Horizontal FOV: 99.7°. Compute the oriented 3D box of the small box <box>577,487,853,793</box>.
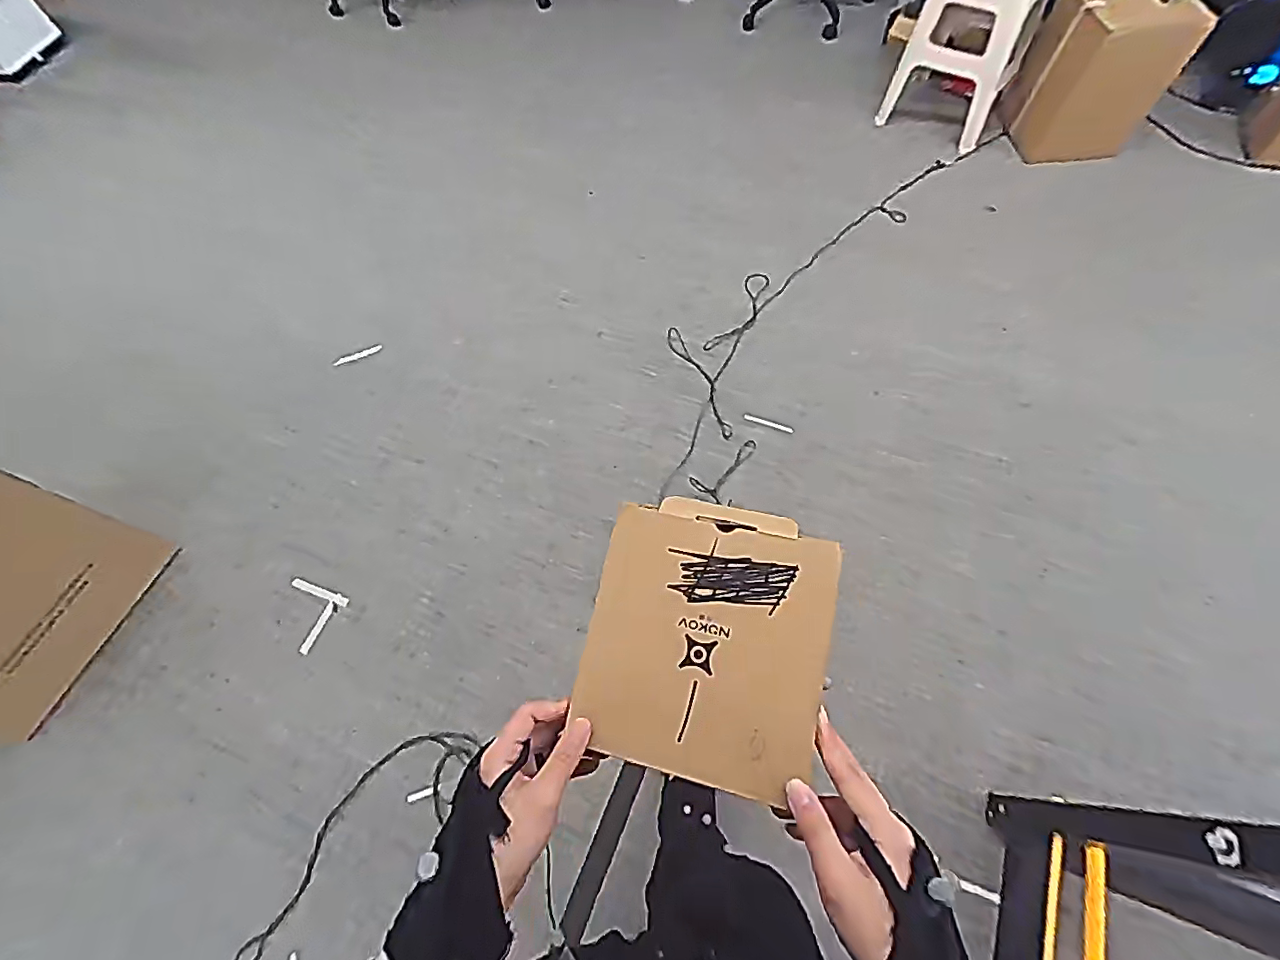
[{"bbox_3d":[0.066,0.123,0.451,0.168,0.176,0.179,10,76,14],"label":"small box"}]
